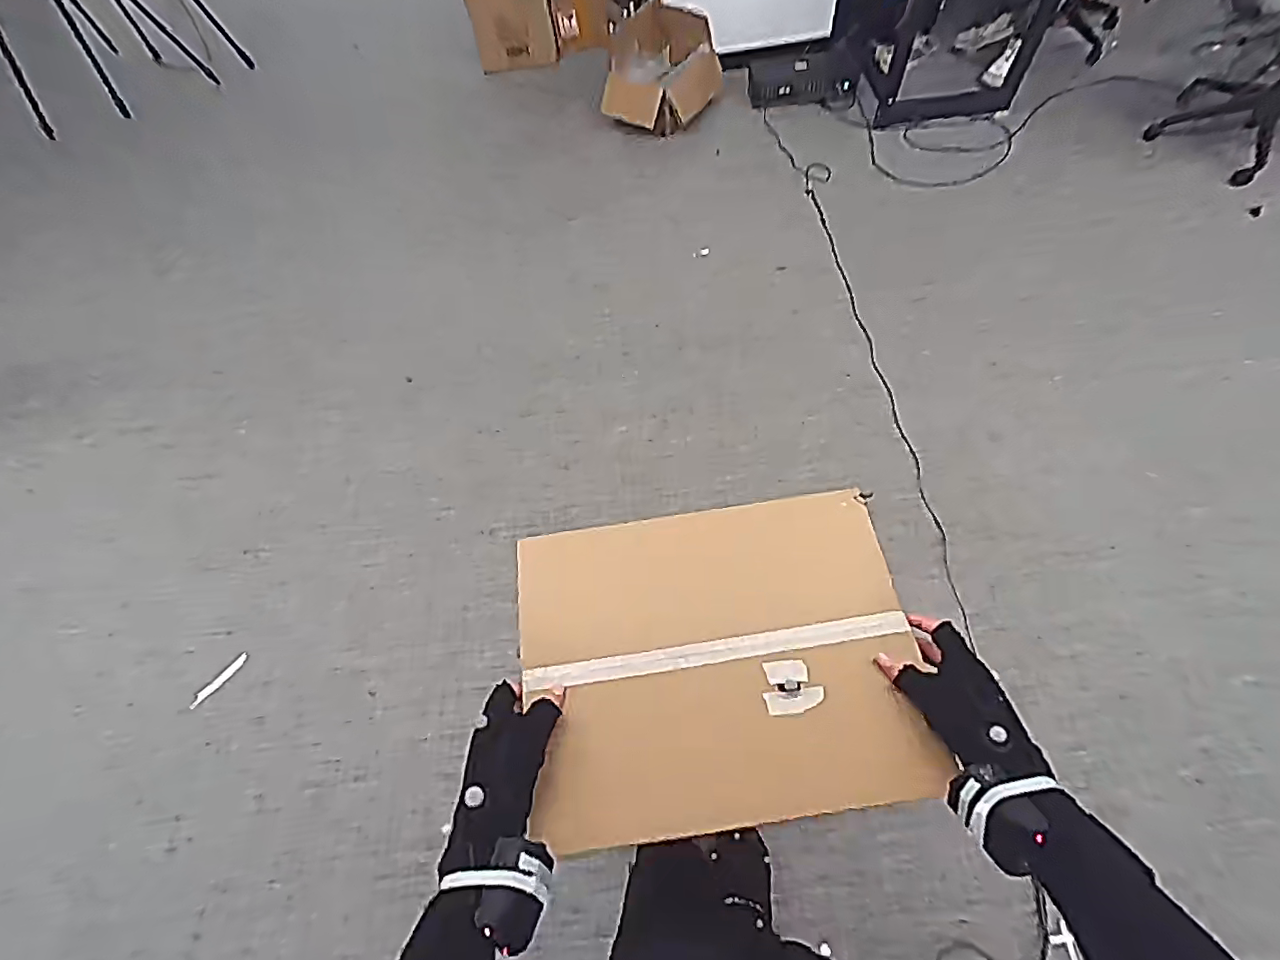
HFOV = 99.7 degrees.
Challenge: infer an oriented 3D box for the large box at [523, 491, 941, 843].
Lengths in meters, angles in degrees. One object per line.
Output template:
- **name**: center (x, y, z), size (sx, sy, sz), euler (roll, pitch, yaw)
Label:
- **large box**: center (0.084, 0.246, 0.721), size (0.408, 0.320, 0.320), euler (-9, 65, -1)
